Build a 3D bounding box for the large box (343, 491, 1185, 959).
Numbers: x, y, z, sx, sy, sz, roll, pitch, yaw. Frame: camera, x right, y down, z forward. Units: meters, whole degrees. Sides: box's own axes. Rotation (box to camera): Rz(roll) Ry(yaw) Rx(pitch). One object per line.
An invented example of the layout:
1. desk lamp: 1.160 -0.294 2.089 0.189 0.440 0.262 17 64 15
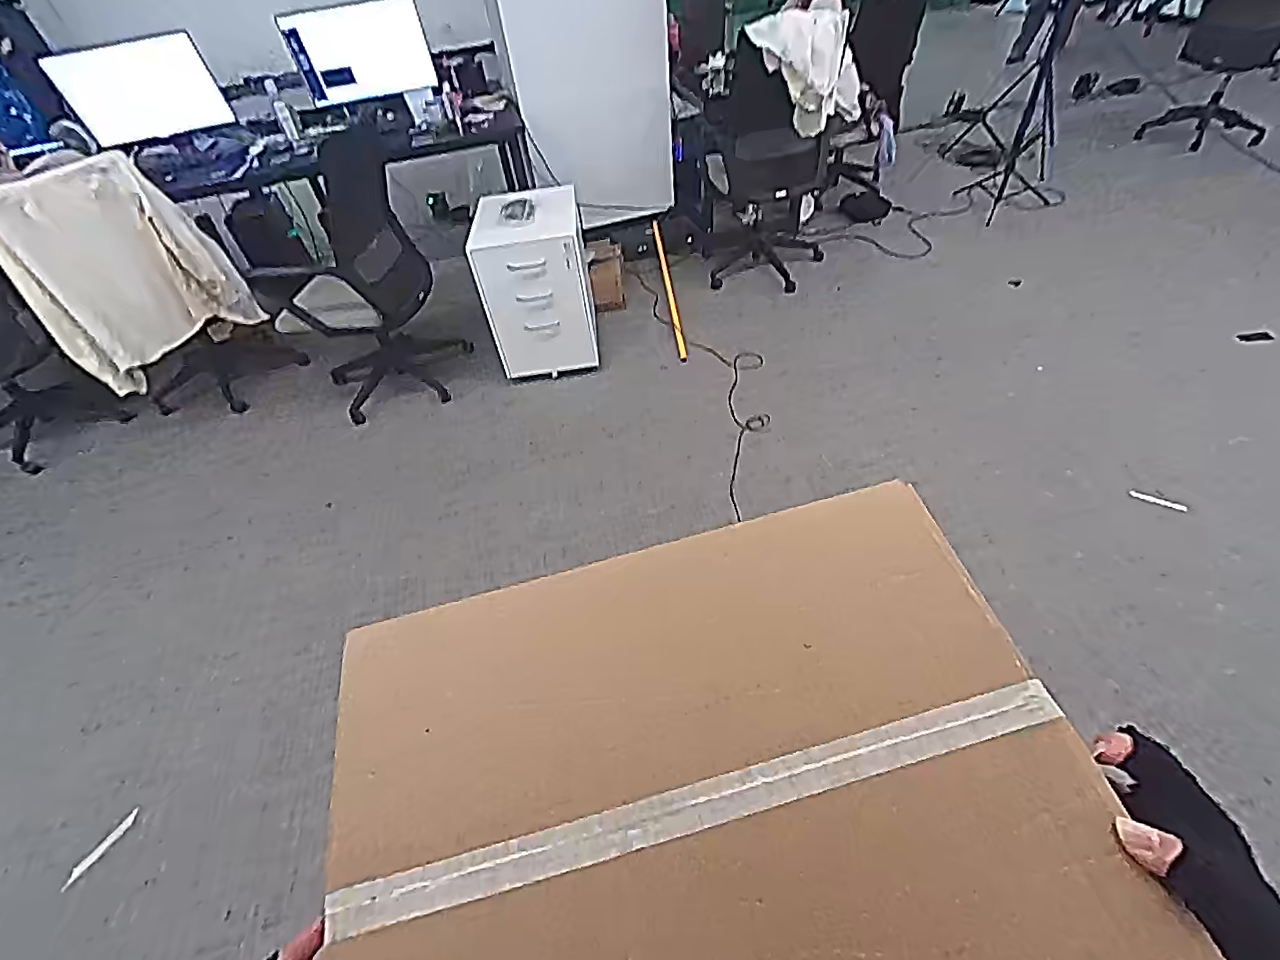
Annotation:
1. large box: 0.049 0.262 0.429 0.408 0.320 0.320 -16 55 -2
